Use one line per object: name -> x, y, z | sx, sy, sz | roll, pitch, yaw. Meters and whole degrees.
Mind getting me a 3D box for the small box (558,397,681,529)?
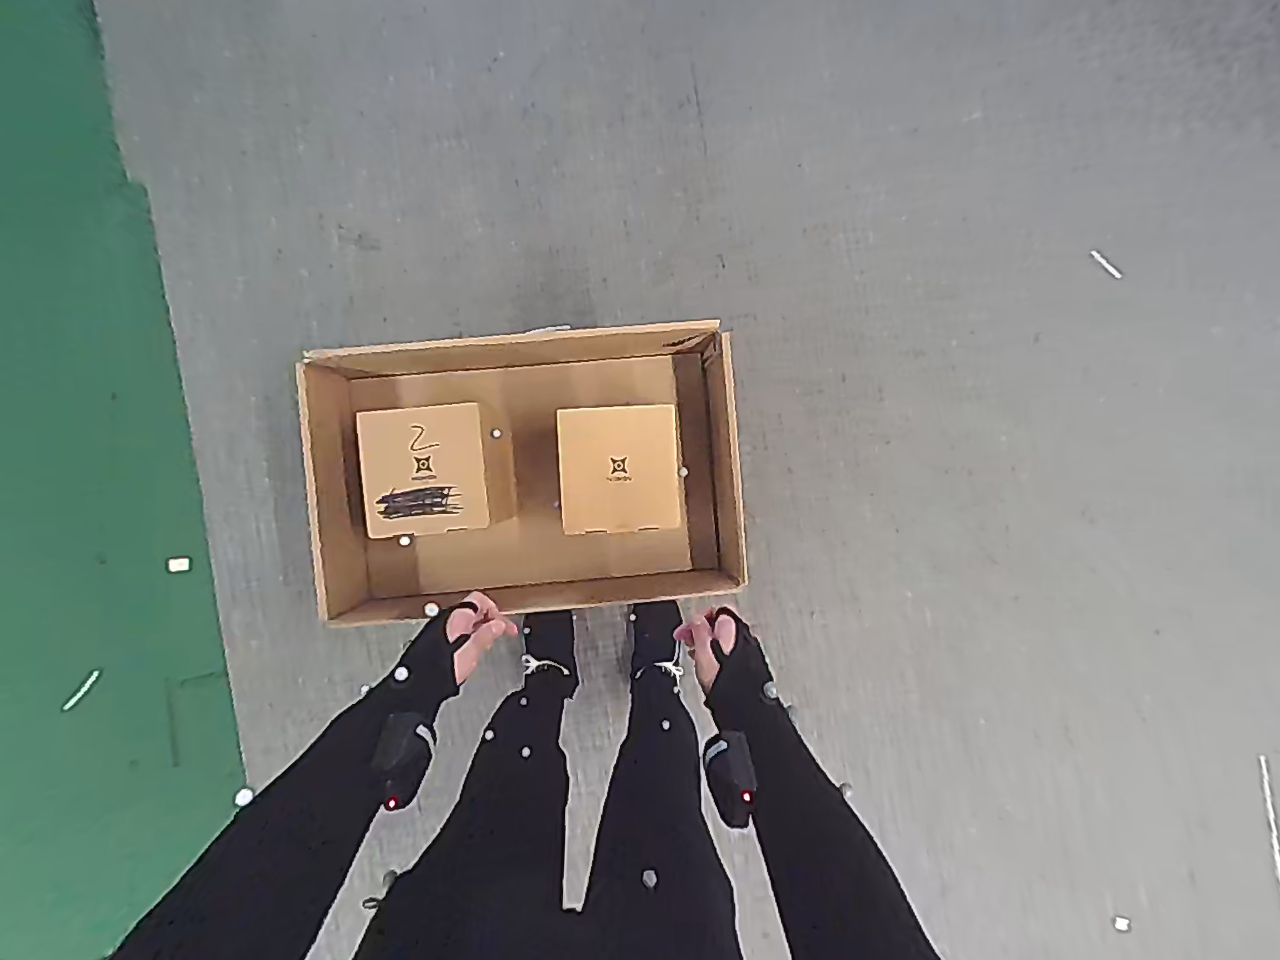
small box -> -0.032, -0.024, 0.819 | 0.168, 0.176, 0.179 | -3, 92, -2
